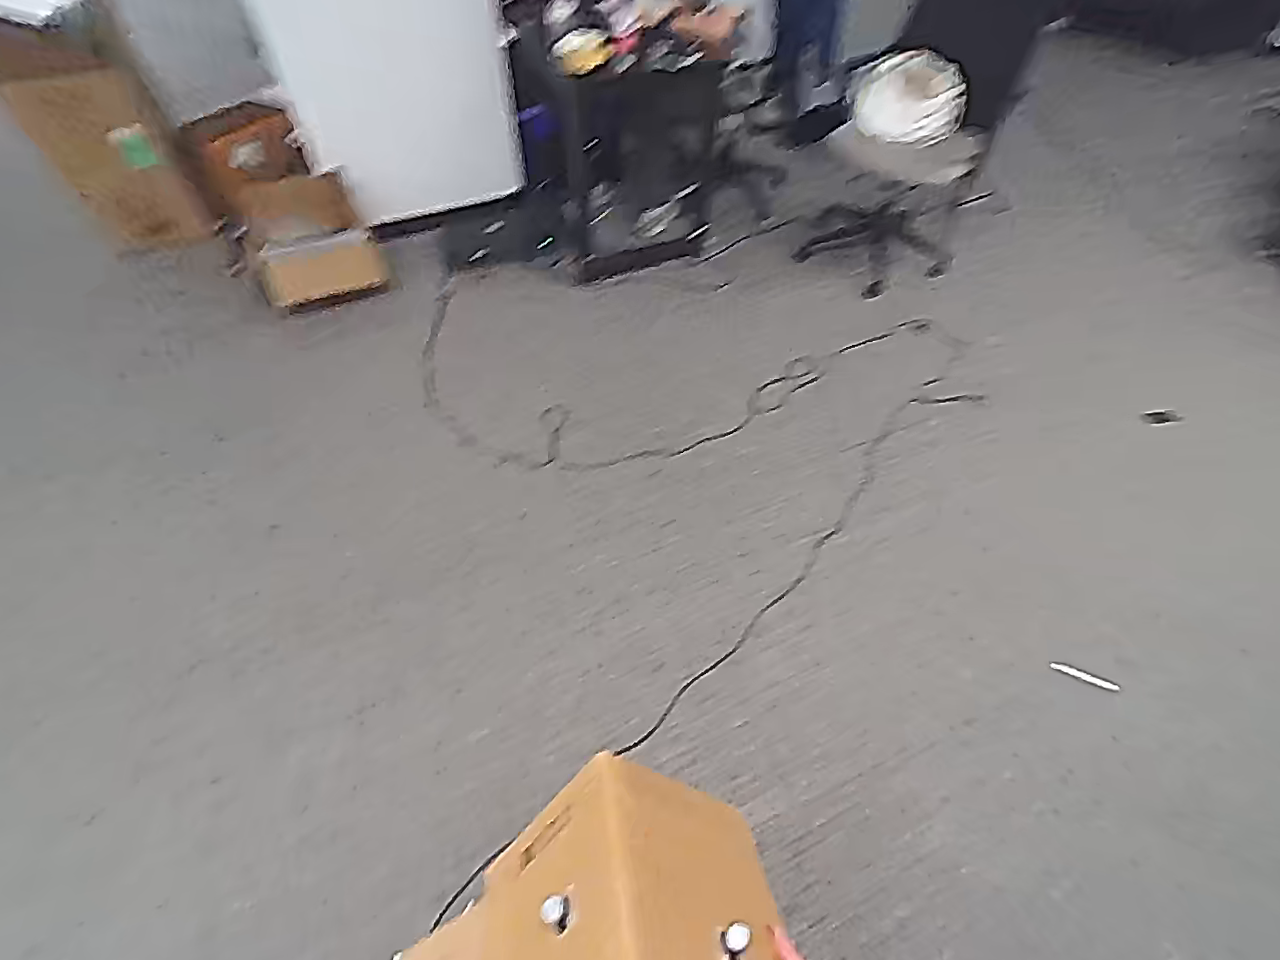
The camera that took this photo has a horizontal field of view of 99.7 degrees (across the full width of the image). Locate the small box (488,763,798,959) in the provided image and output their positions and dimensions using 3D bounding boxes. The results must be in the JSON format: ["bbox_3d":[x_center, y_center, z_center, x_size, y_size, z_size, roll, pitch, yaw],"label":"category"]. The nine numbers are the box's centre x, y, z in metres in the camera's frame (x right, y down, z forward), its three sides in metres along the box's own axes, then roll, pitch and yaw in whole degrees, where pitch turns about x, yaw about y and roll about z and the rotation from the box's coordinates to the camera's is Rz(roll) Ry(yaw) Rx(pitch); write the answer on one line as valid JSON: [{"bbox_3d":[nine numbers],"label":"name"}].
[{"bbox_3d":[-0.005,0.356,0.416,0.168,0.179,0.176,-49,25,11],"label":"small box"}]

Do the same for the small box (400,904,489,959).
[{"bbox_3d":[-0.293,0.880,0.945,0.168,0.176,0.179,-24,57,-18],"label":"small box"}]
